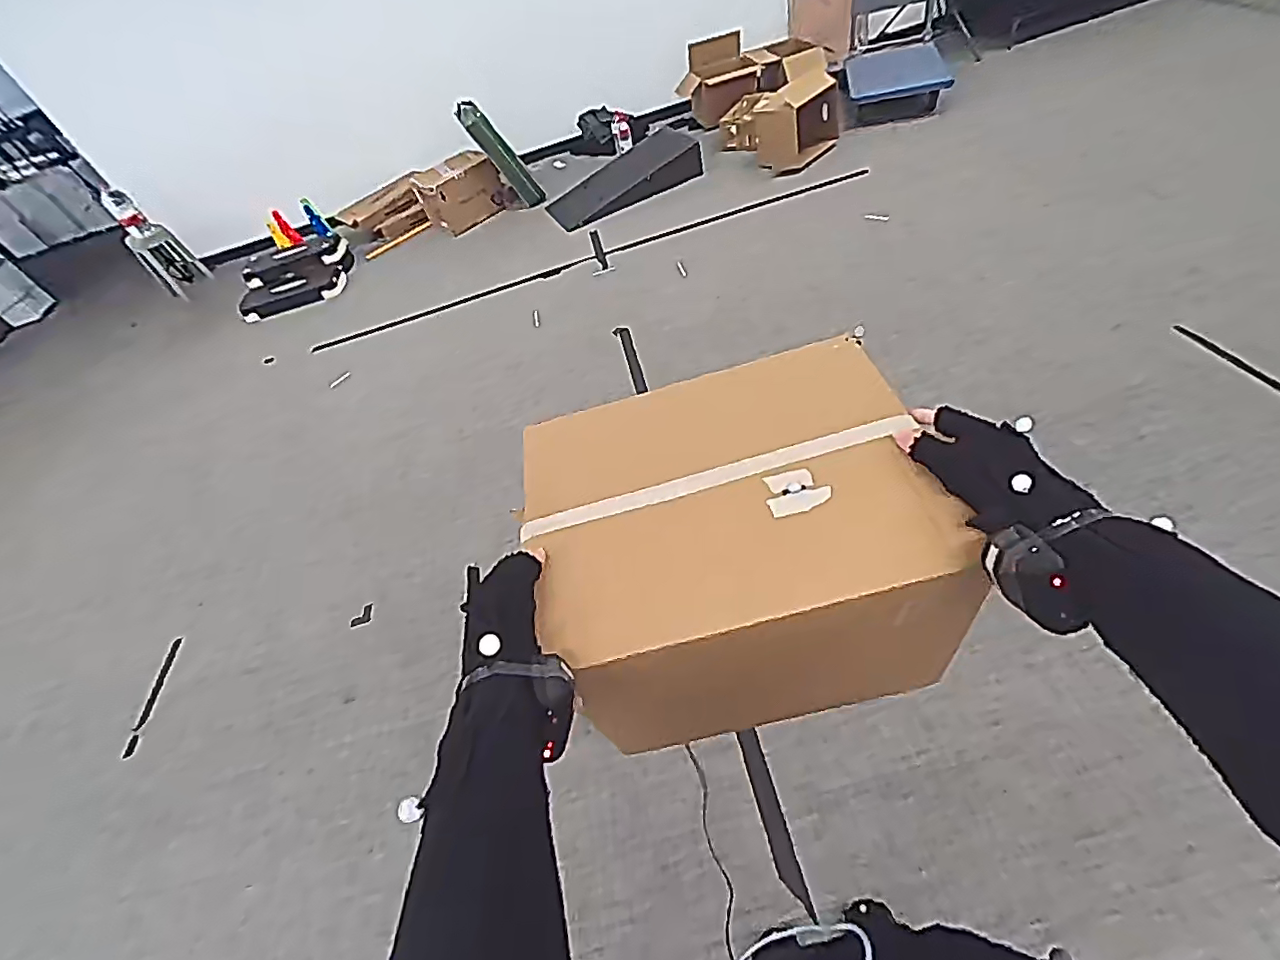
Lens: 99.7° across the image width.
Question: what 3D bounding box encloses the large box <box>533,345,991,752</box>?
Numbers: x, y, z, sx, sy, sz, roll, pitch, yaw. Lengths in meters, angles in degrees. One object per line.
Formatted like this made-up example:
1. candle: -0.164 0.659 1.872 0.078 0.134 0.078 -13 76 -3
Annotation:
1. large box: 0.114 0.096 0.672 0.408 0.320 0.320 -16 50 3
